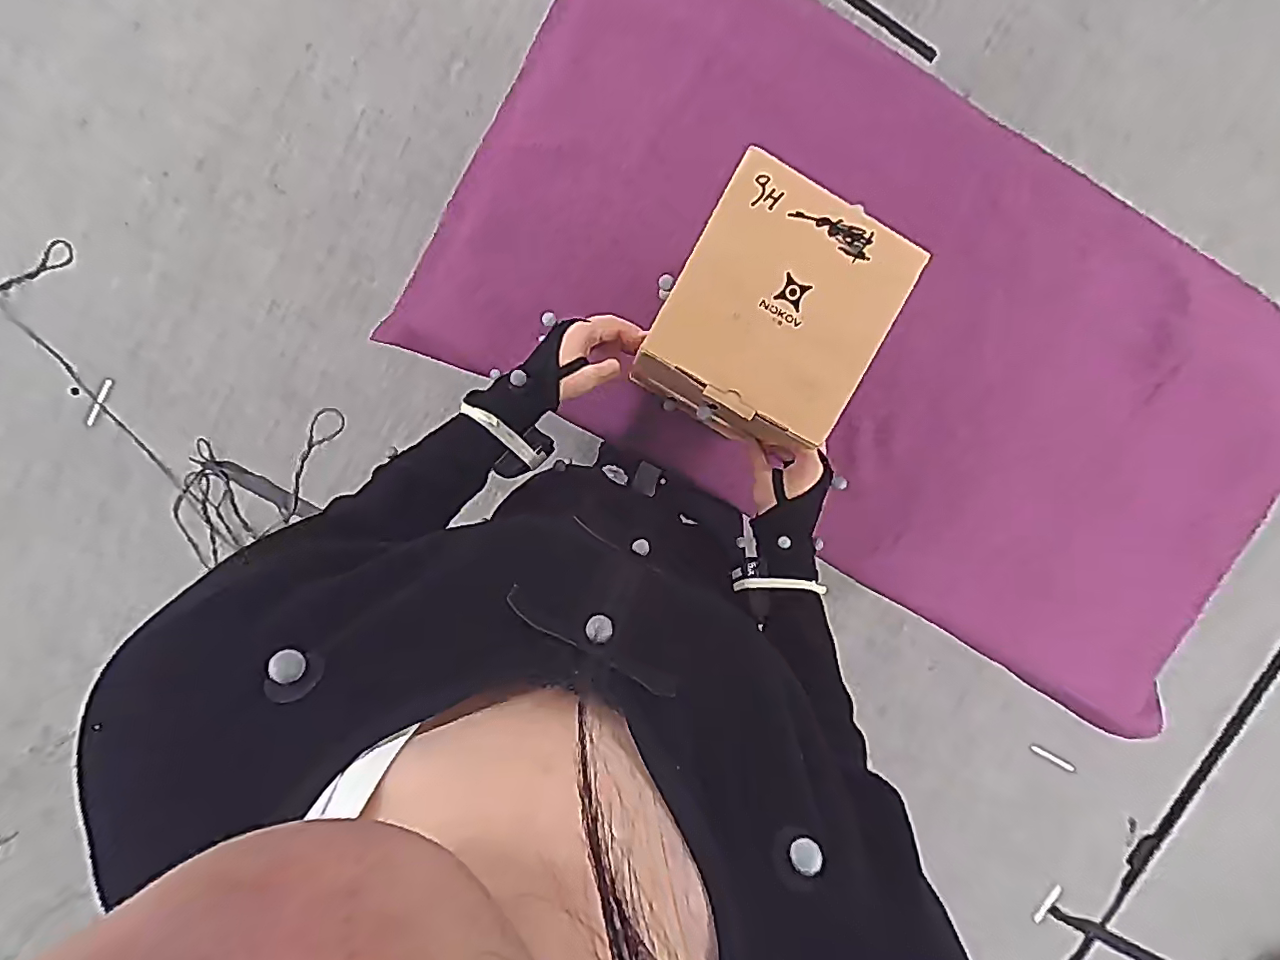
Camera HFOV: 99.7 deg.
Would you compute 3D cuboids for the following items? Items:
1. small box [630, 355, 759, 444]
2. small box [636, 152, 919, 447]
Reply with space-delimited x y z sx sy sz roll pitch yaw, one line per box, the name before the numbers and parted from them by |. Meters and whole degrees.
small box | 0.100 -0.162 0.670 0.168 0.176 0.179 30 94 -6
small box | 0.108 -0.148 0.507 0.168 0.176 0.179 29 95 -6
